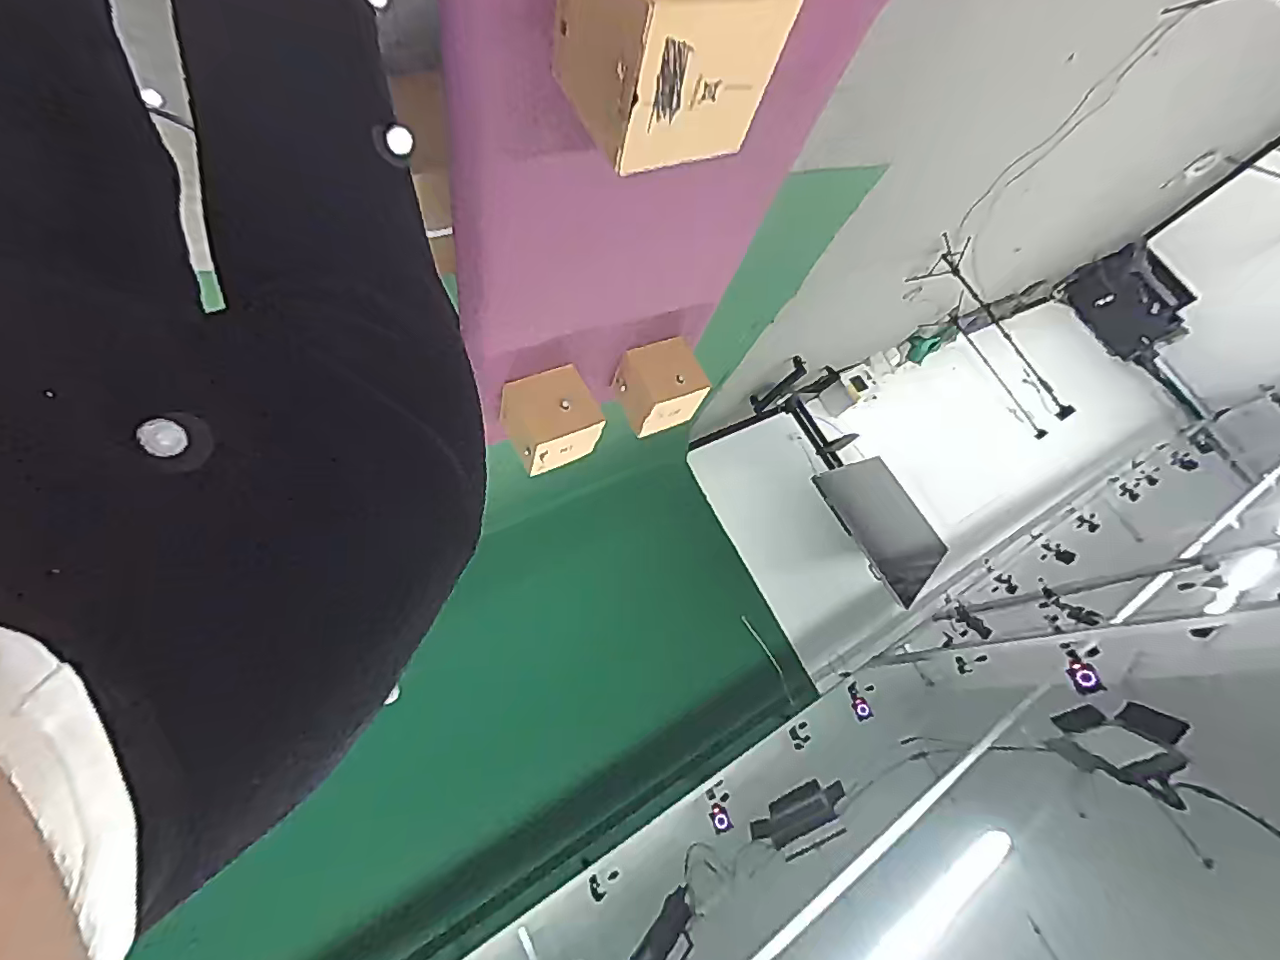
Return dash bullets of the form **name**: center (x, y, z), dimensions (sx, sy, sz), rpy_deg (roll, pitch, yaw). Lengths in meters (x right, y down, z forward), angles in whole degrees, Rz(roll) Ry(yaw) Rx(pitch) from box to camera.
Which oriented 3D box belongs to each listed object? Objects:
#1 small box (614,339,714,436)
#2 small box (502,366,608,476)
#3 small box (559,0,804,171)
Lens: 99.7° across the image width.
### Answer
- **small box**: center (0.056, -0.246, 1.415), dimensions (0.179, 0.176, 0.168), rpy_deg (-21, 162, -25)
- **small box**: center (-0.204, -0.141, 1.272), dimensions (0.179, 0.176, 0.168), rpy_deg (-25, 164, -26)
- **small box**: center (0.030, -0.470, 0.571), dimensions (0.179, 0.176, 0.168), rpy_deg (-25, 166, -22)
